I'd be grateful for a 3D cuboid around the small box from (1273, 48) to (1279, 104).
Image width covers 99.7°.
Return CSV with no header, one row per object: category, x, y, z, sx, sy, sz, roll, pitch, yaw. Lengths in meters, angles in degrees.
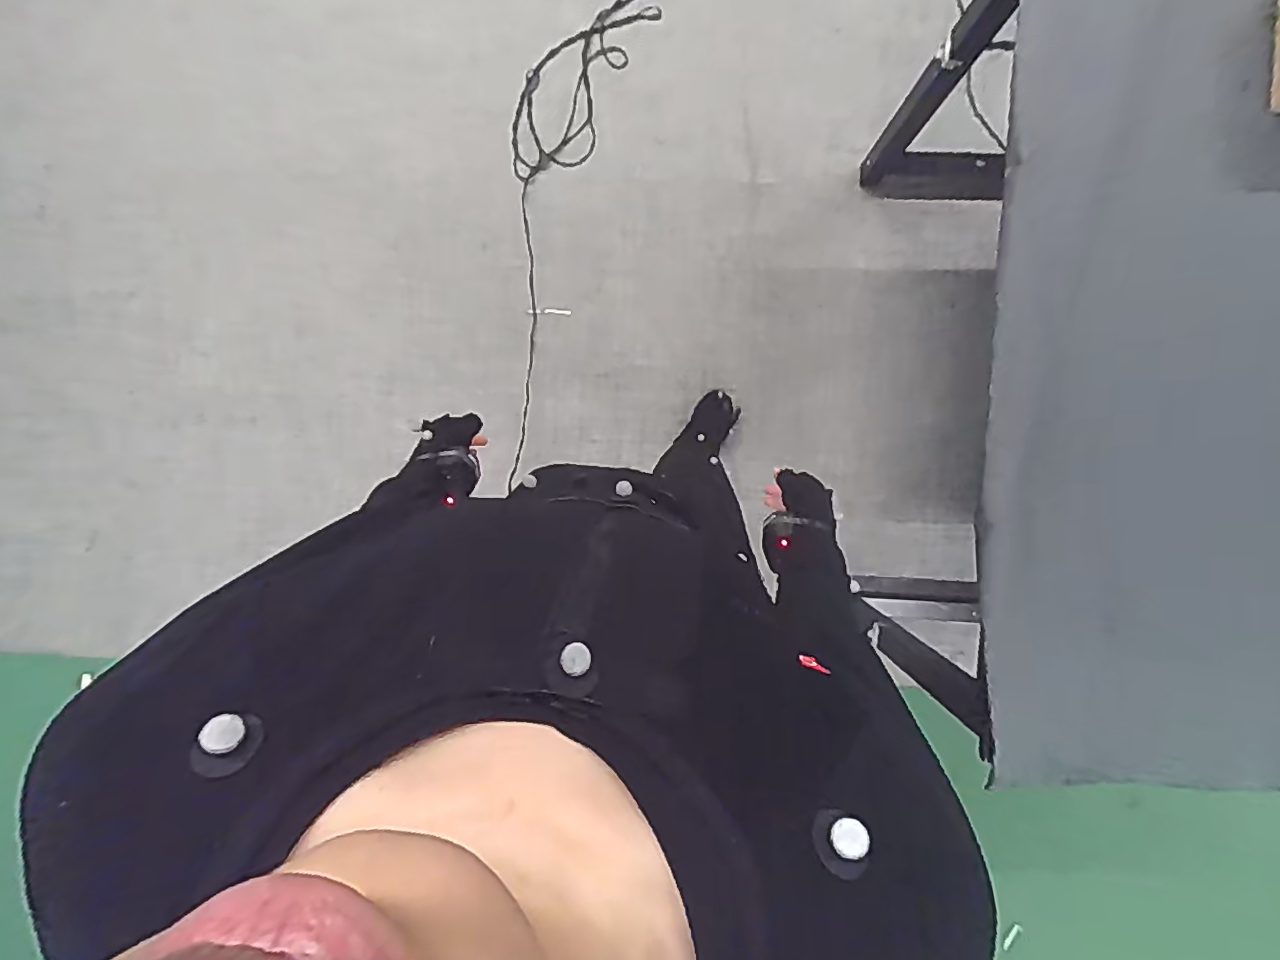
small box,0.882,-0.544,0.600,0.179,0.176,0.168,1,93,2
